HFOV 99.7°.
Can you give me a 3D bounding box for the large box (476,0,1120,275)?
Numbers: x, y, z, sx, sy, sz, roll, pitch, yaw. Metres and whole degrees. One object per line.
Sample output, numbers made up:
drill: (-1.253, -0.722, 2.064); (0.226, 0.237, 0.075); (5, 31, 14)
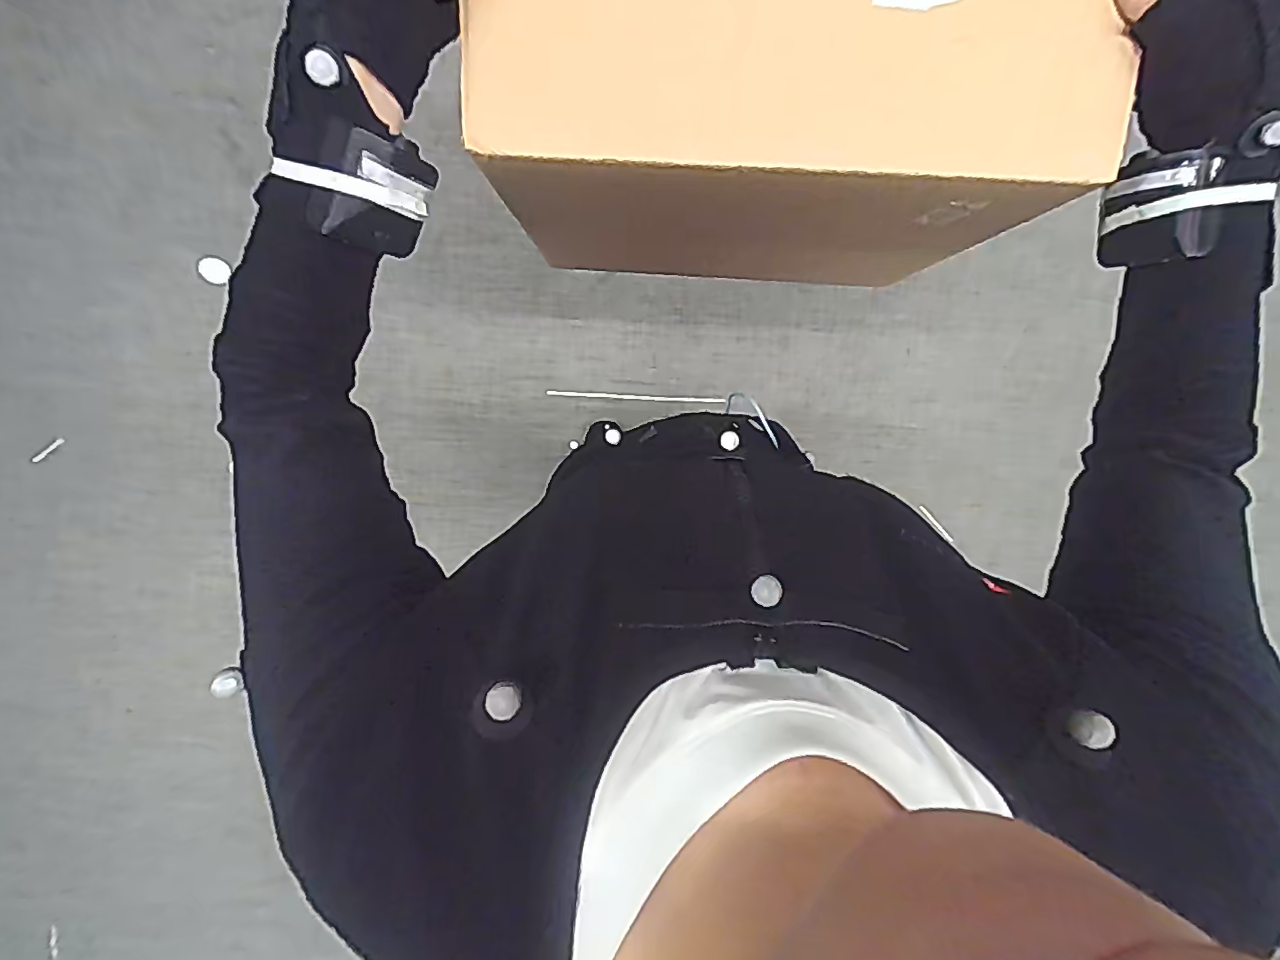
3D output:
large box: (0.097, -0.376, 0.472); (0.408, 0.320, 0.320); (3, 99, 0)
